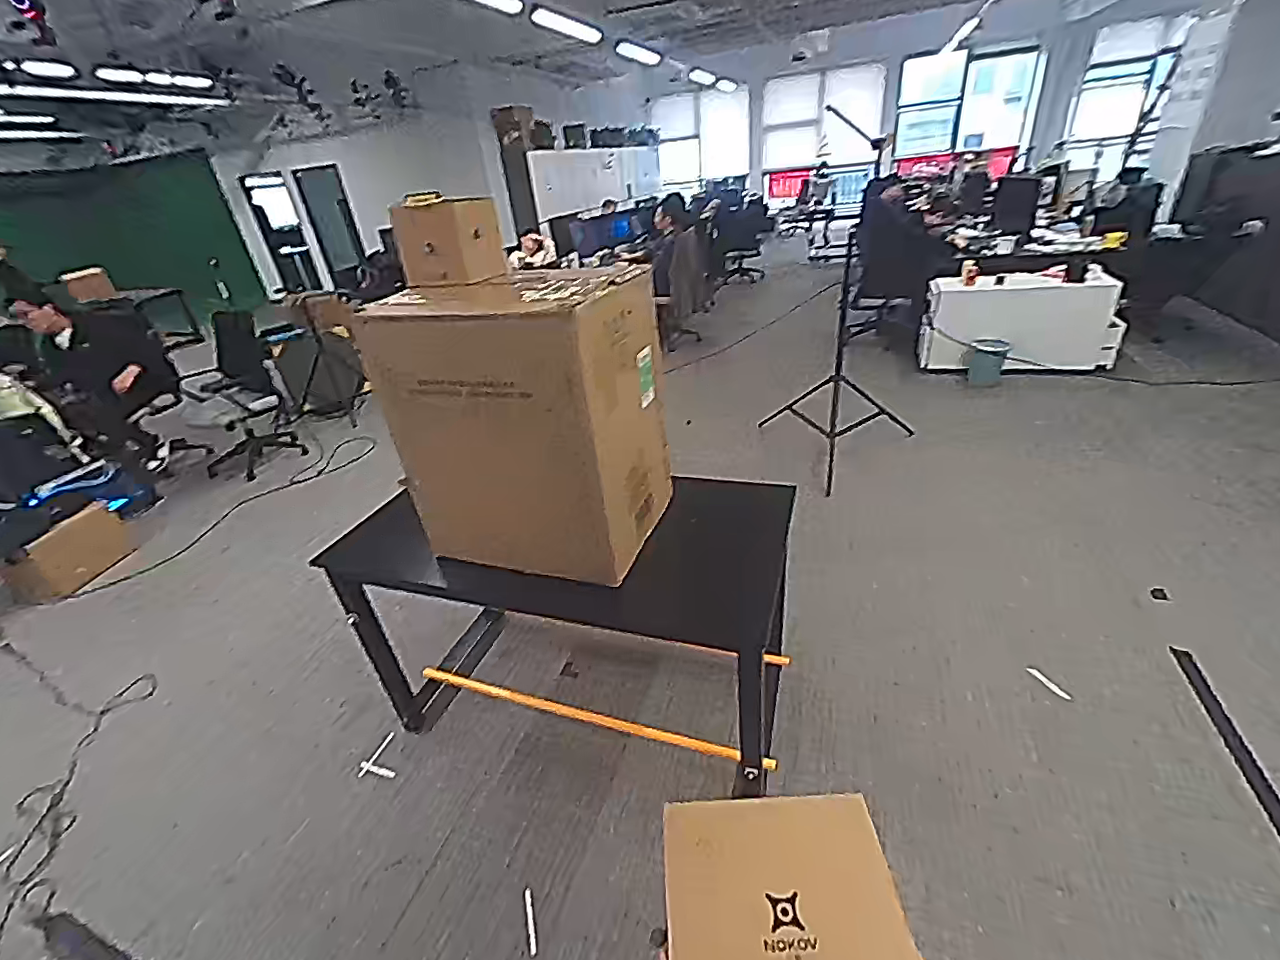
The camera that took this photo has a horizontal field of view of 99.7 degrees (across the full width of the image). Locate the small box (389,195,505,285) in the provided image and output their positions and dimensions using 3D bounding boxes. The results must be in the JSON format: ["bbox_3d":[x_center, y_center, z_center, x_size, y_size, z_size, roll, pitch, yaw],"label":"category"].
[{"bbox_3d":[-0.429,-0.545,1.236,0.168,0.176,0.179,4,30,16],"label":"small box"}]

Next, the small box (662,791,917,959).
[{"bbox_3d":[0.104,0.371,0.411,0.168,0.176,0.179,-5,31,3],"label":"small box"}]
